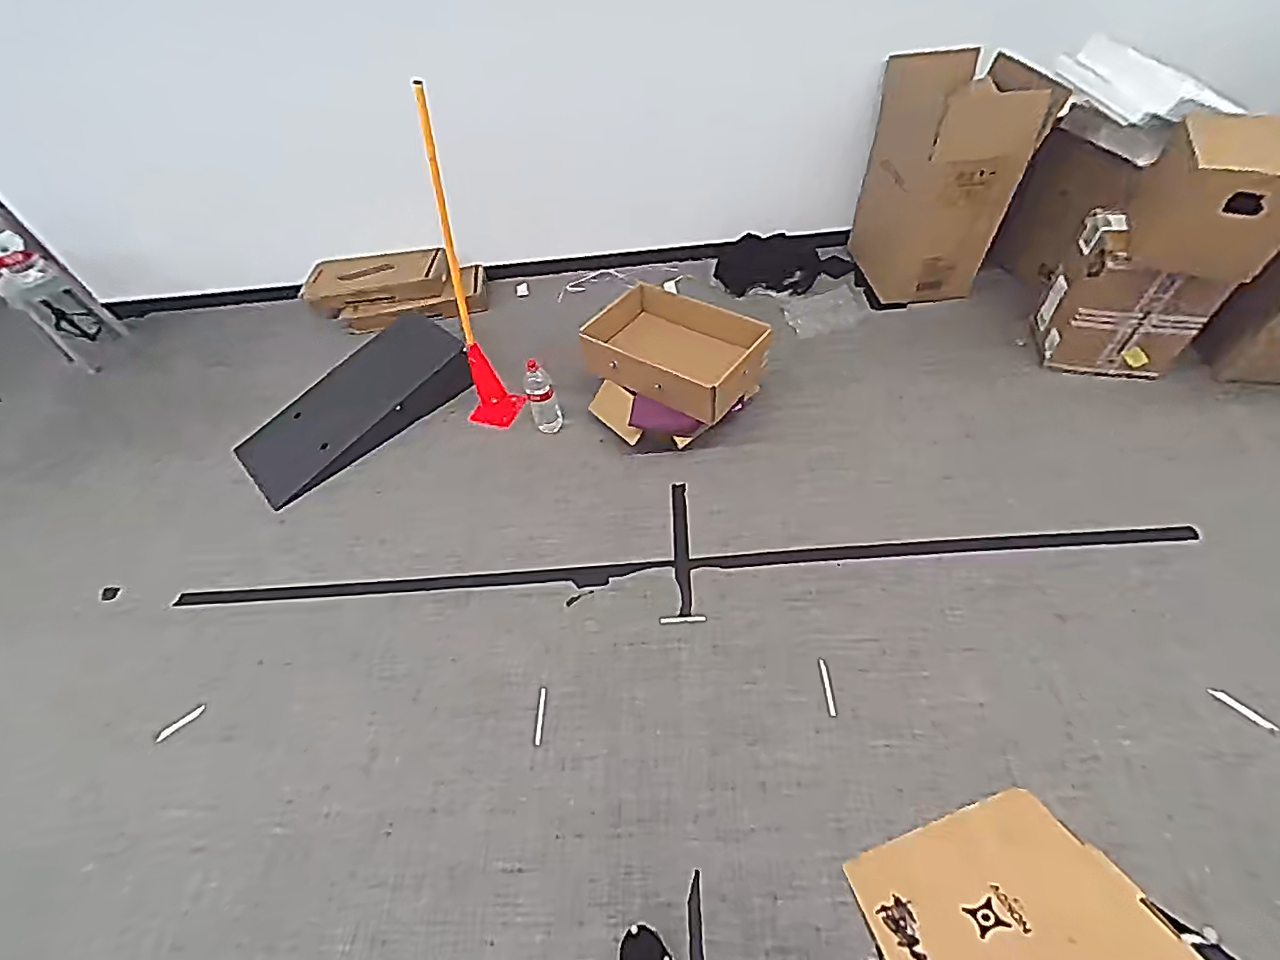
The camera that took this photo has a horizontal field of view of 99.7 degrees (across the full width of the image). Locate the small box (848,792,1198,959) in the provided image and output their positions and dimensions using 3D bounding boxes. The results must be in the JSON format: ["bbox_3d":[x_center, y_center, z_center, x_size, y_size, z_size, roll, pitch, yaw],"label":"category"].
[{"bbox_3d":[0.295,0.393,0.412,0.179,0.176,0.168,-23,9,1],"label":"small box"}]
